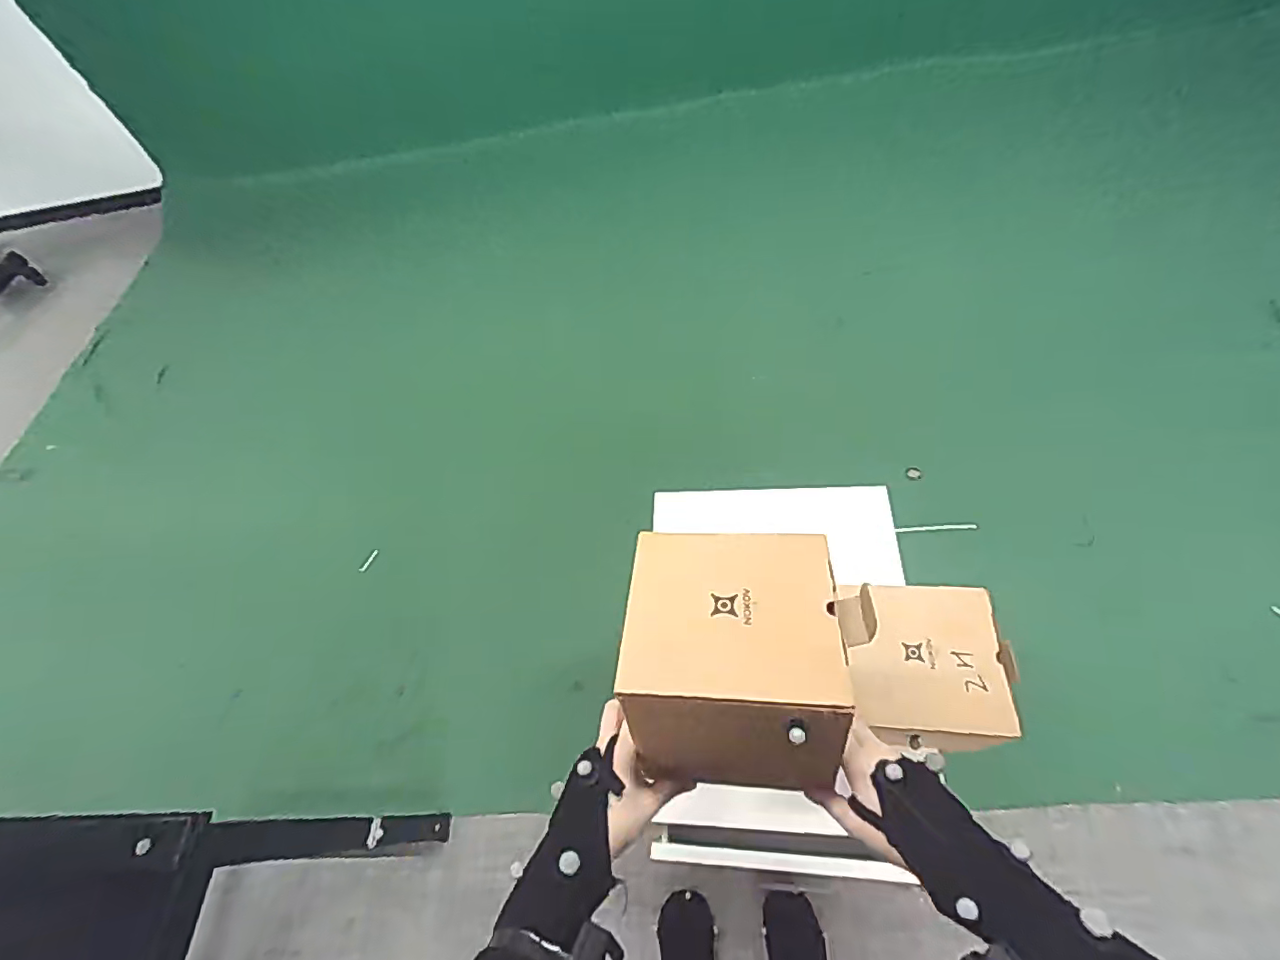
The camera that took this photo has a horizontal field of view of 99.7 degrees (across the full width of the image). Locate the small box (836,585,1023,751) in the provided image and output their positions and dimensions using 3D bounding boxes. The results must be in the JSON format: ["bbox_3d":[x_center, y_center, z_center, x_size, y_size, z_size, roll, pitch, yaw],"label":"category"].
[{"bbox_3d":[0.334,0.240,0.681,0.179,0.176,0.168,0,60,11],"label":"small box"}]

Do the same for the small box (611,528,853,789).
[{"bbox_3d":[0.083,0.161,0.494,0.179,0.176,0.168,0,41,10],"label":"small box"}]
